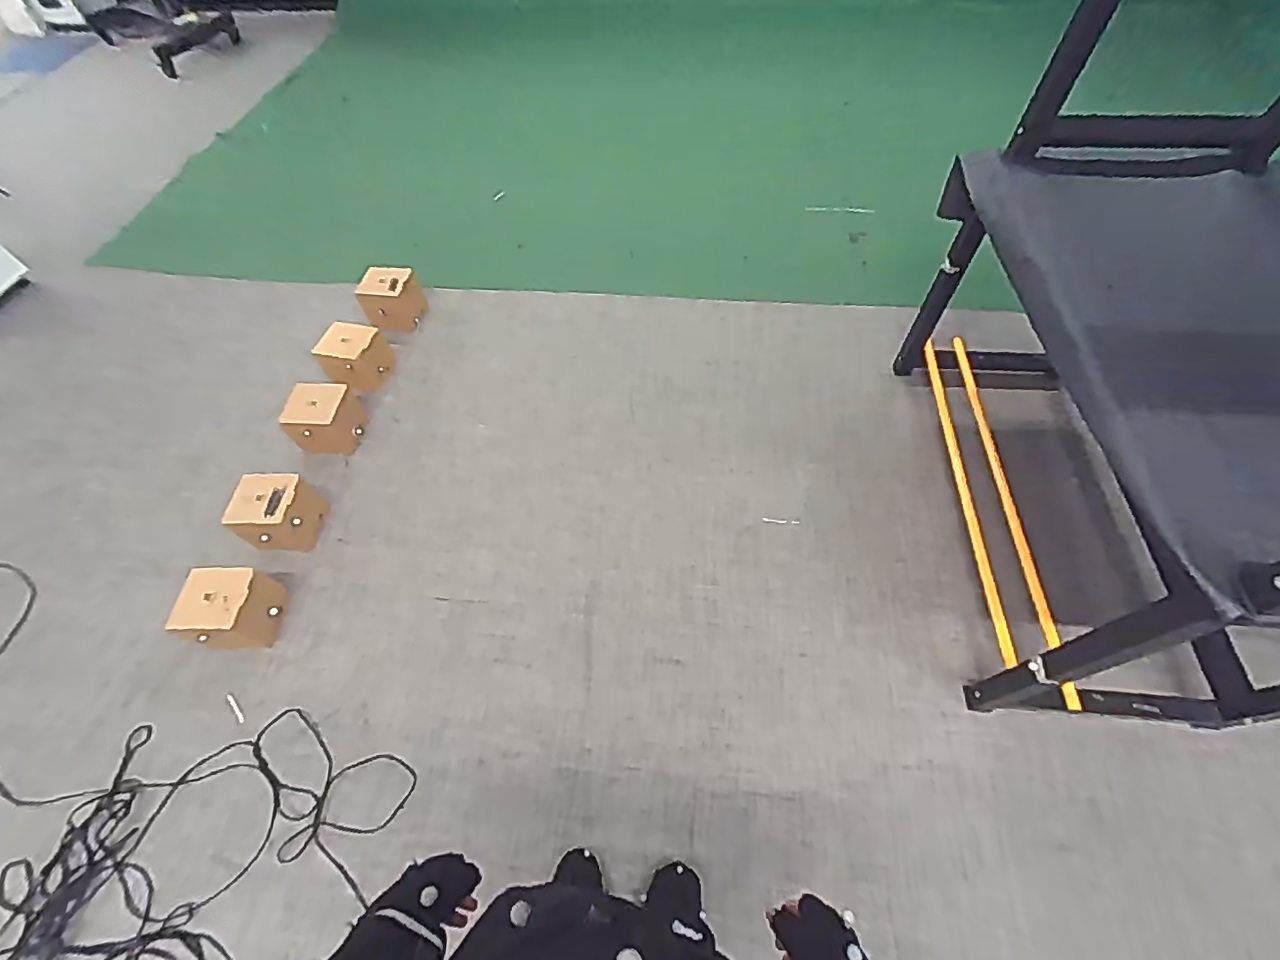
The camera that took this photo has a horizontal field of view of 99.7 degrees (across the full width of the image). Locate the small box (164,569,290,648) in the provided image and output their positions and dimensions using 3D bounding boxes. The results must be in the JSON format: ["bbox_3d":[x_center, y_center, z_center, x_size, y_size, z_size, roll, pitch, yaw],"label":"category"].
[{"bbox_3d":[-1.090,0.347,1.443,0.179,0.176,0.168,-1,58,1],"label":"small box"}]

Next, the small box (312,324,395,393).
[{"bbox_3d":[-1.025,-0.435,1.948,0.179,0.176,0.168,10,58,7],"label":"small box"}]

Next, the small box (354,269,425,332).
[{"bbox_3d":[-0.972,-0.700,2.118,0.179,0.176,0.168,5,57,6],"label":"small box"}]

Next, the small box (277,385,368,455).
[{"bbox_3d":[-1.043,-0.196,1.793,0.179,0.176,0.168,3,59,2],"label":"small box"}]
